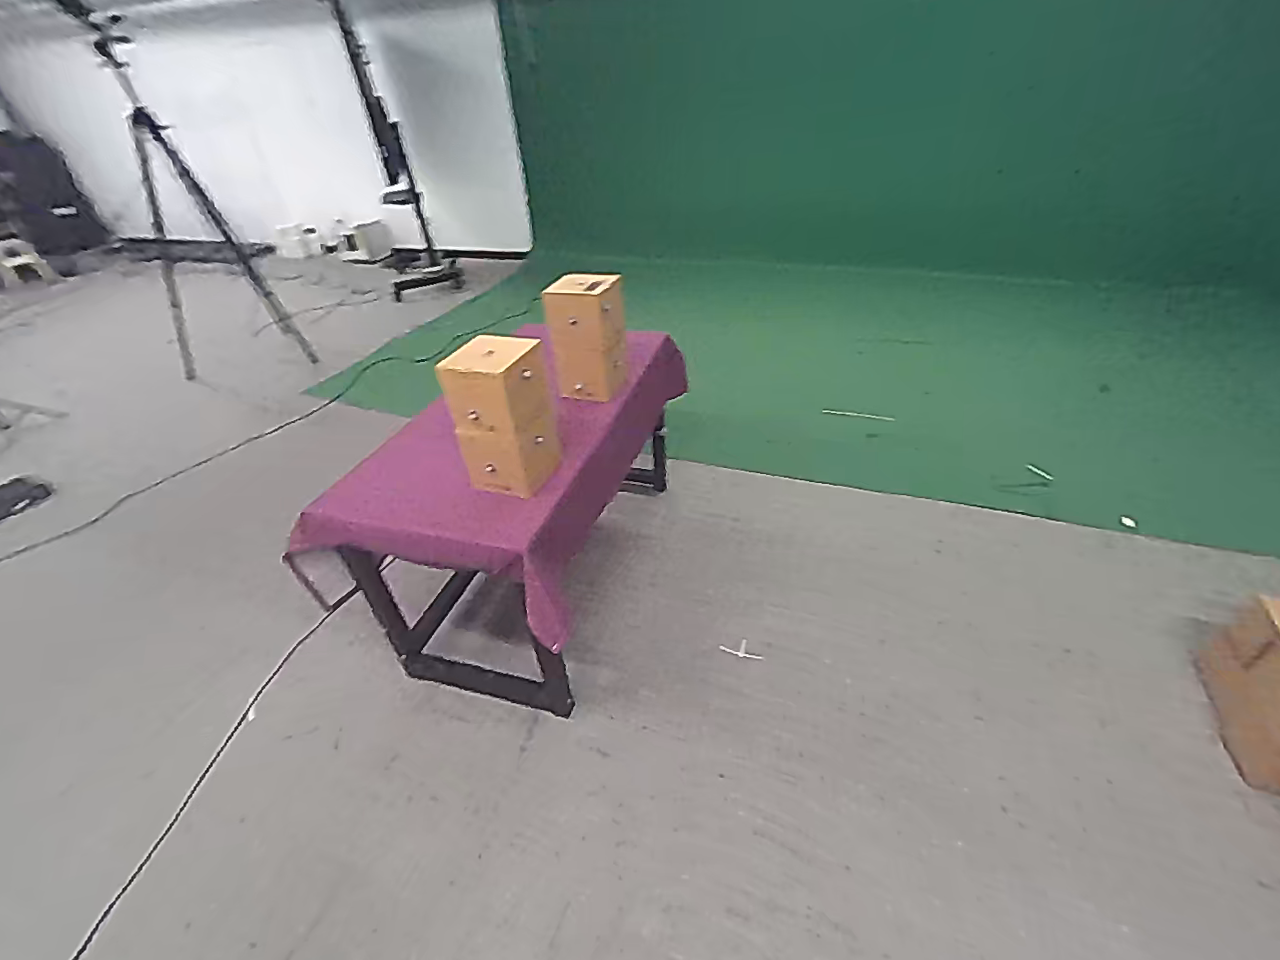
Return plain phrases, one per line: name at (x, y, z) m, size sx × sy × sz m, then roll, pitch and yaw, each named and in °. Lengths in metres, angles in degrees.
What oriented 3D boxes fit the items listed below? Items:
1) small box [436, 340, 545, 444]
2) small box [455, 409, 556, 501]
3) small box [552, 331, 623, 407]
small box at (-0.332, -0.204, 1.247) m, size 0.168 × 0.176 × 0.179 m, roll 9°, pitch 40°, yaw 18°
small box at (-0.322, -0.070, 1.341) m, size 0.168 × 0.176 × 0.179 m, roll 10°, pitch 39°, yaw 18°
small box at (-0.158, -0.351, 1.702) m, size 0.168 × 0.176 × 0.179 m, roll 9°, pitch 40°, yaw 18°
